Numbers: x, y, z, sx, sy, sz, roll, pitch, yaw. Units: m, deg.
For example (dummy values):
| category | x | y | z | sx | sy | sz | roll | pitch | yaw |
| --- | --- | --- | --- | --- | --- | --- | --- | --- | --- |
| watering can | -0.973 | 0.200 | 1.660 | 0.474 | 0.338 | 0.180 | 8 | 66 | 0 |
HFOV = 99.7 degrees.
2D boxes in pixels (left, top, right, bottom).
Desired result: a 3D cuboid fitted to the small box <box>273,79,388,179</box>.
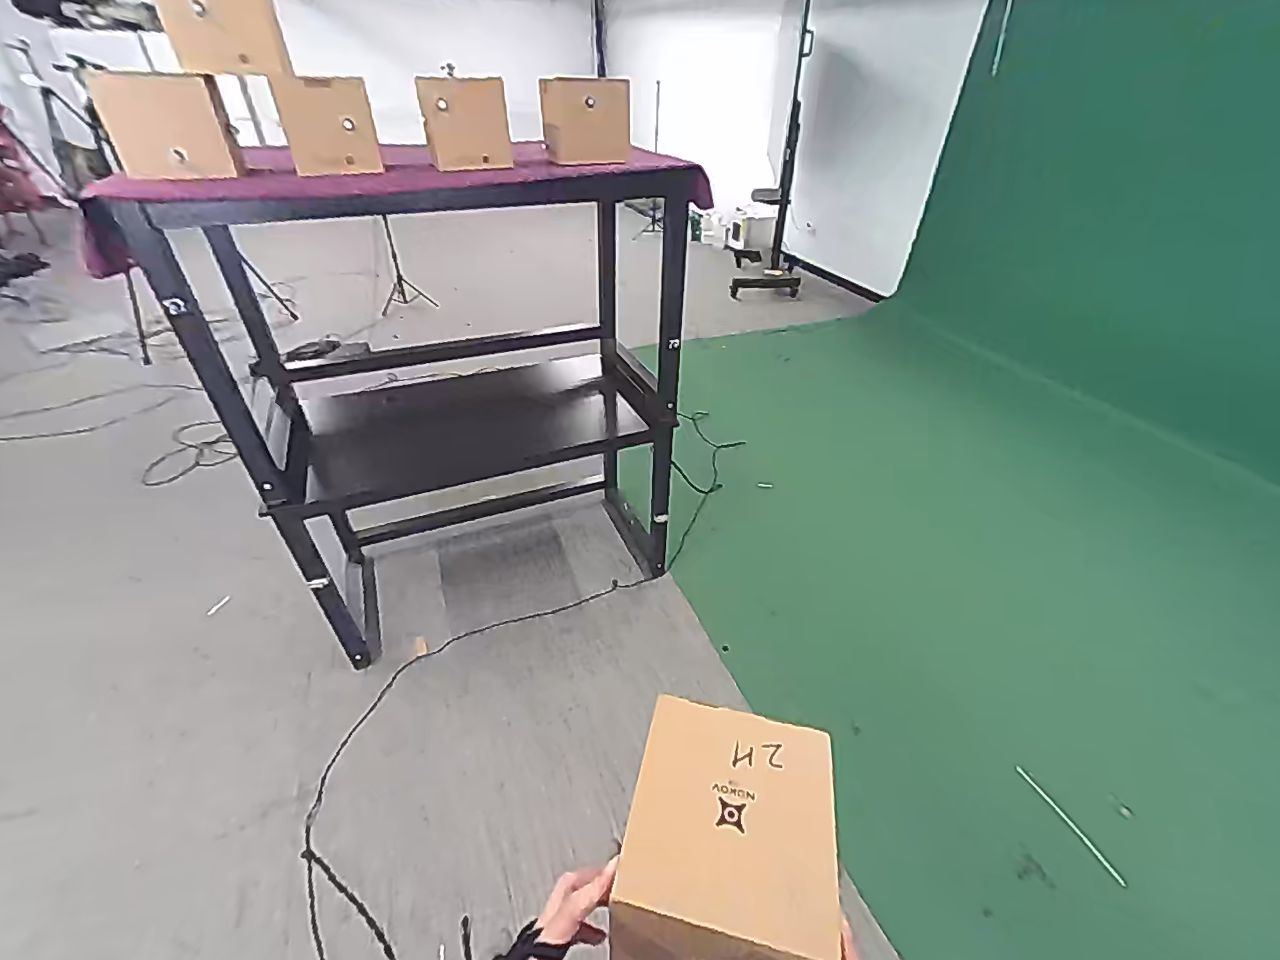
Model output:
| category | x | y | z | sx | sy | sz | roll | pitch | yaw |
| --- | --- | --- | --- | --- | --- | --- | --- | --- | --- |
| small box | -0.638 | -0.737 | 1.137 | 0.168 | 0.176 | 0.179 | -12 | 38 | -18 |

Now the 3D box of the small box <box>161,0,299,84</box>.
| category | x | y | z | sx | sy | sz | roll | pitch | yaw |
| --- | --- | --- | --- | --- | --- | --- | --- | --- | --- |
| small box | -0.756 | -0.843 | 1.002 | 0.168 | 0.176 | 0.179 | -13 | 38 | -19 |

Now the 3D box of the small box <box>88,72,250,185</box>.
| category | x | y | z | sx | sy | sz | roll | pitch | yaw |
| --- | --- | --- | --- | --- | --- | --- | --- | --- | --- |
| small box | -0.888 | -0.677 | 1.044 | 0.179 | 0.176 | 0.168 | -14 | 39 | -21 |

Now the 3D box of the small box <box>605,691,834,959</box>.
| category | x | y | z | sx | sy | sz | roll | pitch | yaw |
| --- | --- | --- | --- | --- | --- | --- | --- | --- | --- |
| small box | 0.071 | 0.332 | 0.491 | 0.168 | 0.176 | 0.179 | 10 | 35 | 10 |

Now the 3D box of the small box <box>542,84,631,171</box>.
| category | x | y | z | sx | sy | sz | roll | pitch | yaw |
| --- | --- | --- | --- | --- | --- | --- | --- | --- | --- |
| small box | -0.128 | -0.856 | 1.315 | 0.179 | 0.176 | 0.168 | -13 | 38 | -18 |
